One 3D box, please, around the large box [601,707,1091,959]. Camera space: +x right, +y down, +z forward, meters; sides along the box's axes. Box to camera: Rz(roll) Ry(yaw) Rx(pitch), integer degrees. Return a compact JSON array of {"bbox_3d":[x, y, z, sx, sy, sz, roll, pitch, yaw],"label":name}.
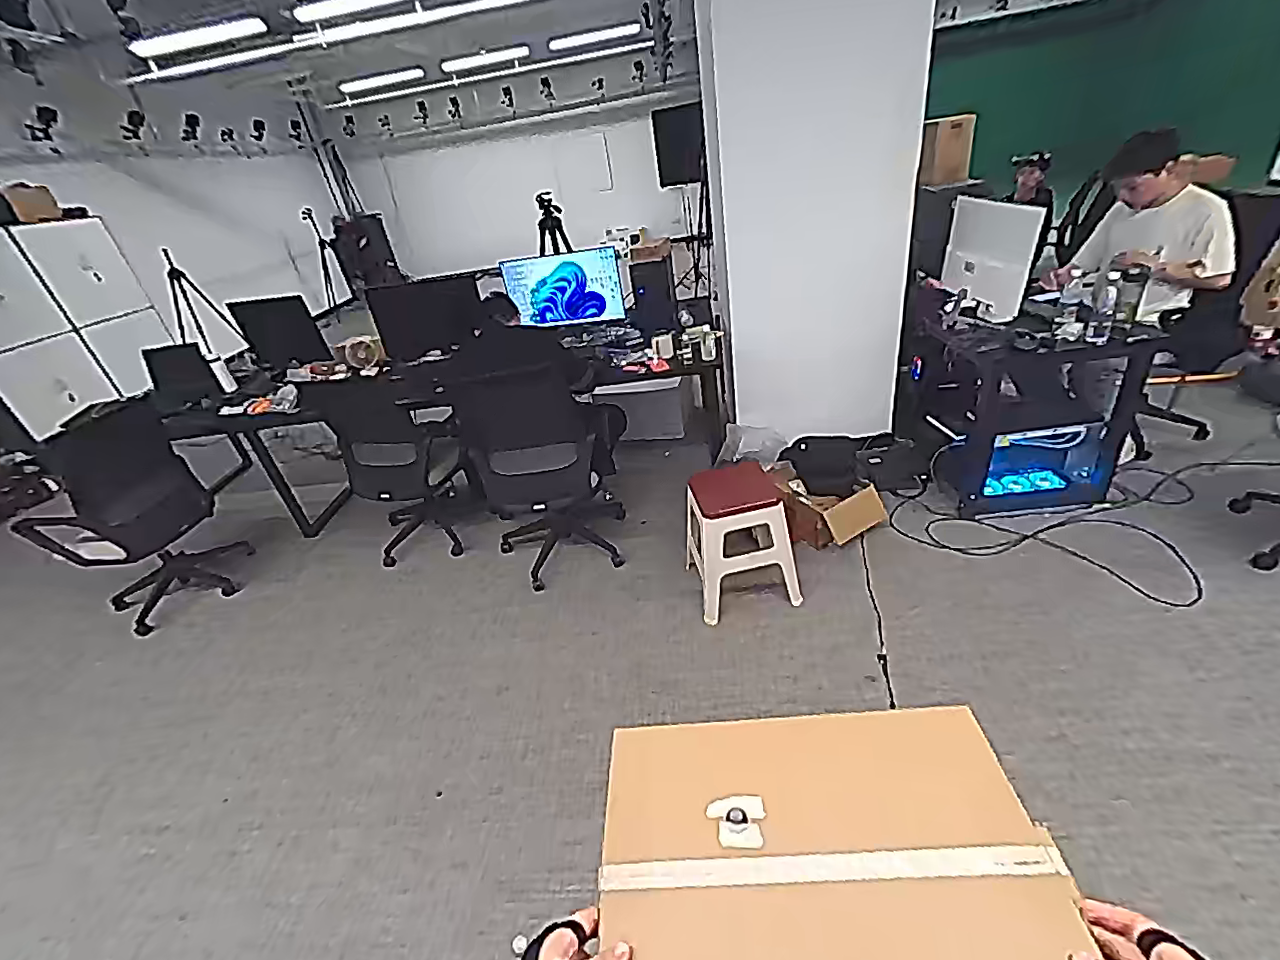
[{"bbox_3d":[0.191,0.491,0.583,0.408,0.320,0.320,-9,31,8],"label":"large box"}]
